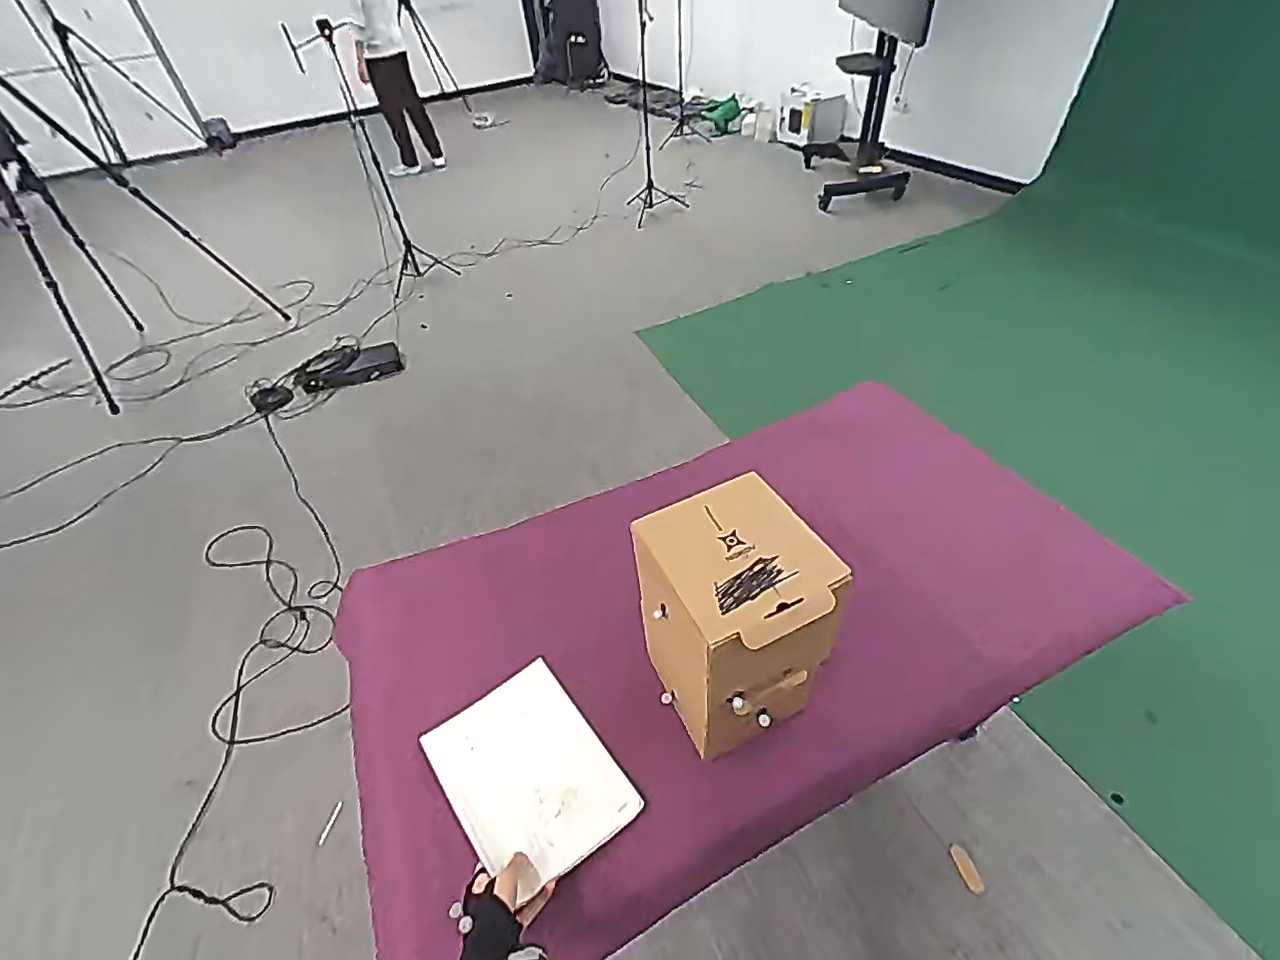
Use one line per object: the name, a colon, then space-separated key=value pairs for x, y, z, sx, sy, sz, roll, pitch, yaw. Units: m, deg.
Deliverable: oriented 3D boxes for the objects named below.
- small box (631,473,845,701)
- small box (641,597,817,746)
small box: x=0.105 y=0.129 z=0.629 sx=0.168 sy=0.176 sz=0.179 roll=-21 pitch=46 yaw=-14
small box: x=0.116 y=0.241 z=0.750 sx=0.168 sy=0.176 sz=0.179 roll=-21 pitch=48 yaw=-15
